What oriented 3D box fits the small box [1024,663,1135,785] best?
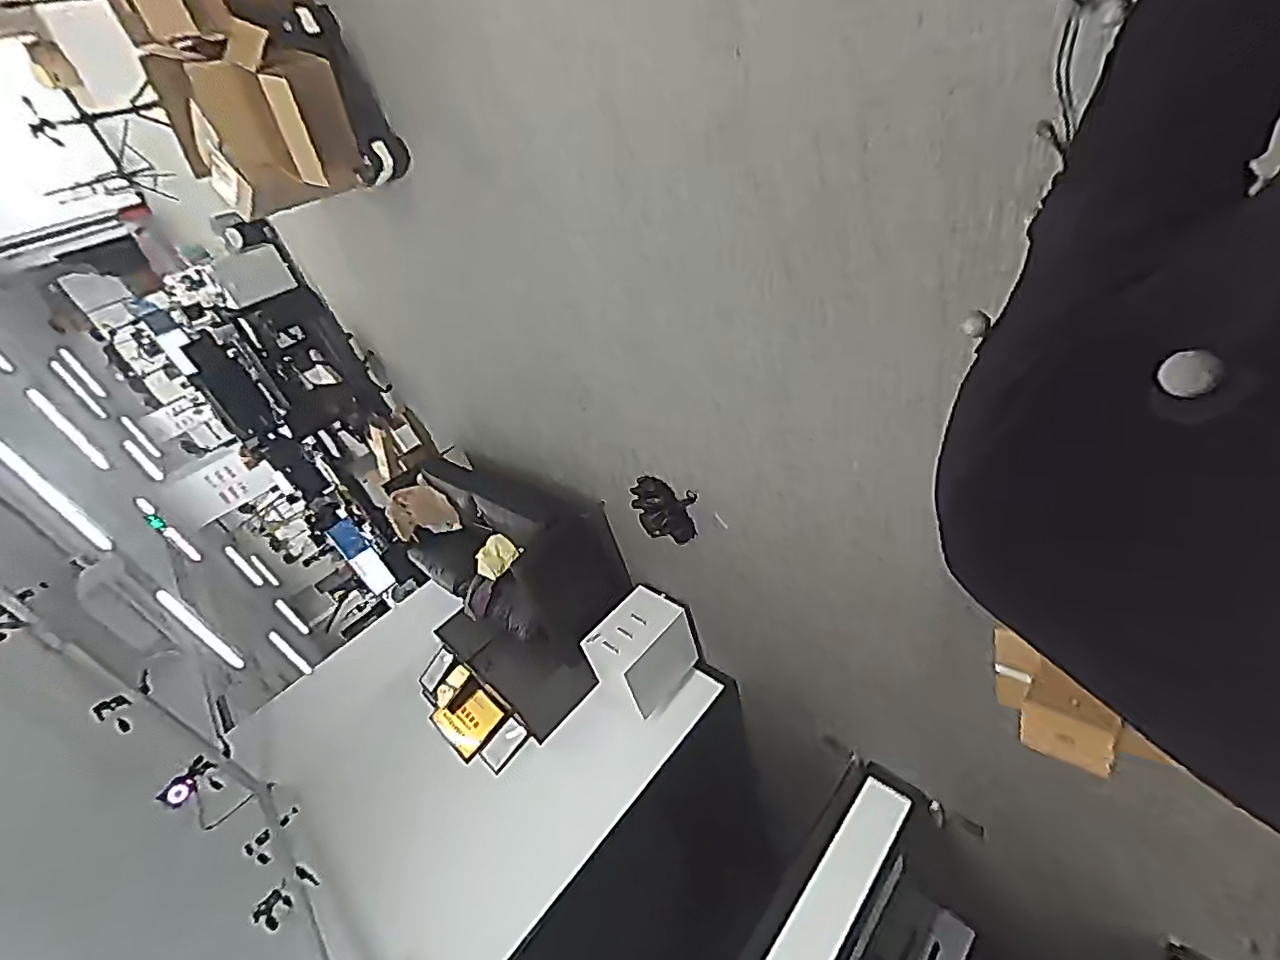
[{"bbox_3d":[1.053,0.576,1.298,0.179,0.176,0.168,14,133,48],"label":"small box"}]
